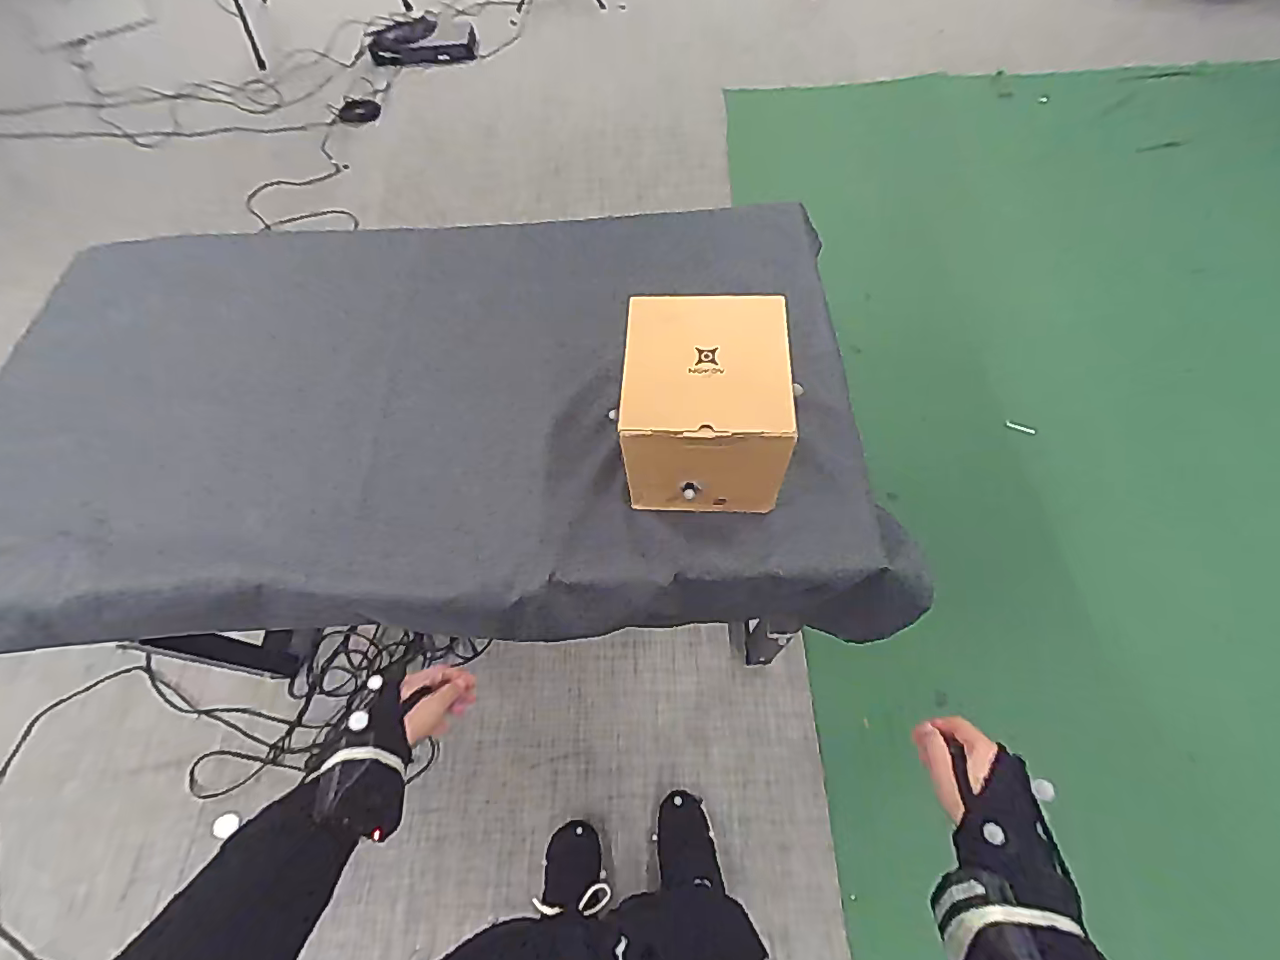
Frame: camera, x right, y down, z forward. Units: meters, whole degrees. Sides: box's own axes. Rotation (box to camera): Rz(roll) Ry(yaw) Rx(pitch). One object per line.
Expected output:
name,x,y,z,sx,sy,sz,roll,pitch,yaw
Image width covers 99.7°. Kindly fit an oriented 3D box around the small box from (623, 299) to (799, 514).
small box,0.073,-0.078,0.606,0.168,0.176,0.179,1,62,4
